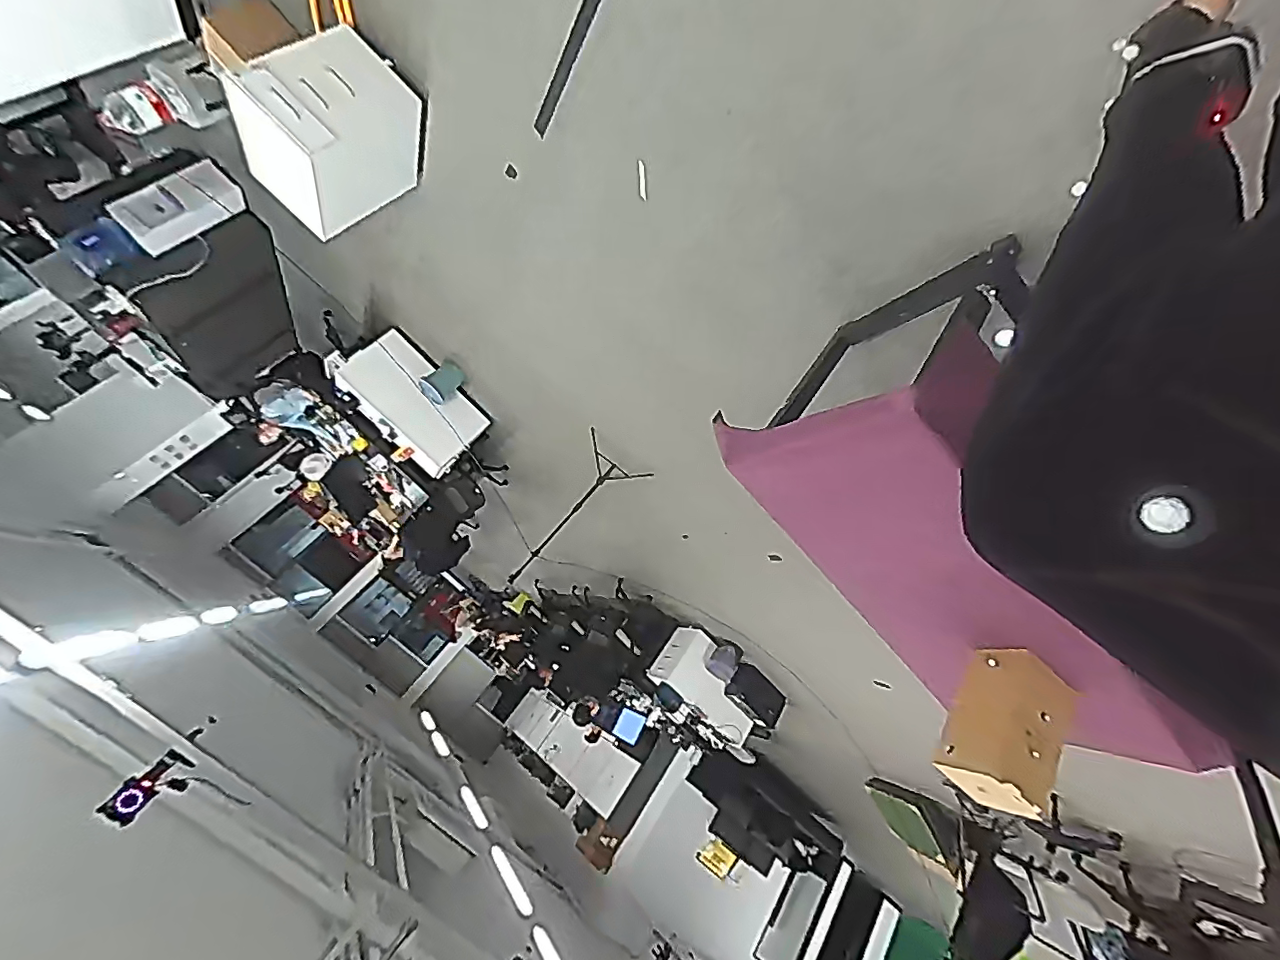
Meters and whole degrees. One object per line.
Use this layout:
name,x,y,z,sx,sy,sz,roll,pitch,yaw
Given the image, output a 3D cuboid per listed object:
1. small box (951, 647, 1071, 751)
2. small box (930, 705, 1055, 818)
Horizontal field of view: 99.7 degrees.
small box,0.949,0.551,1.381,0.179,0.176,0.168,42,154,-3
small box,0.858,0.672,1.315,0.168,0.176,0.179,41,154,-3
